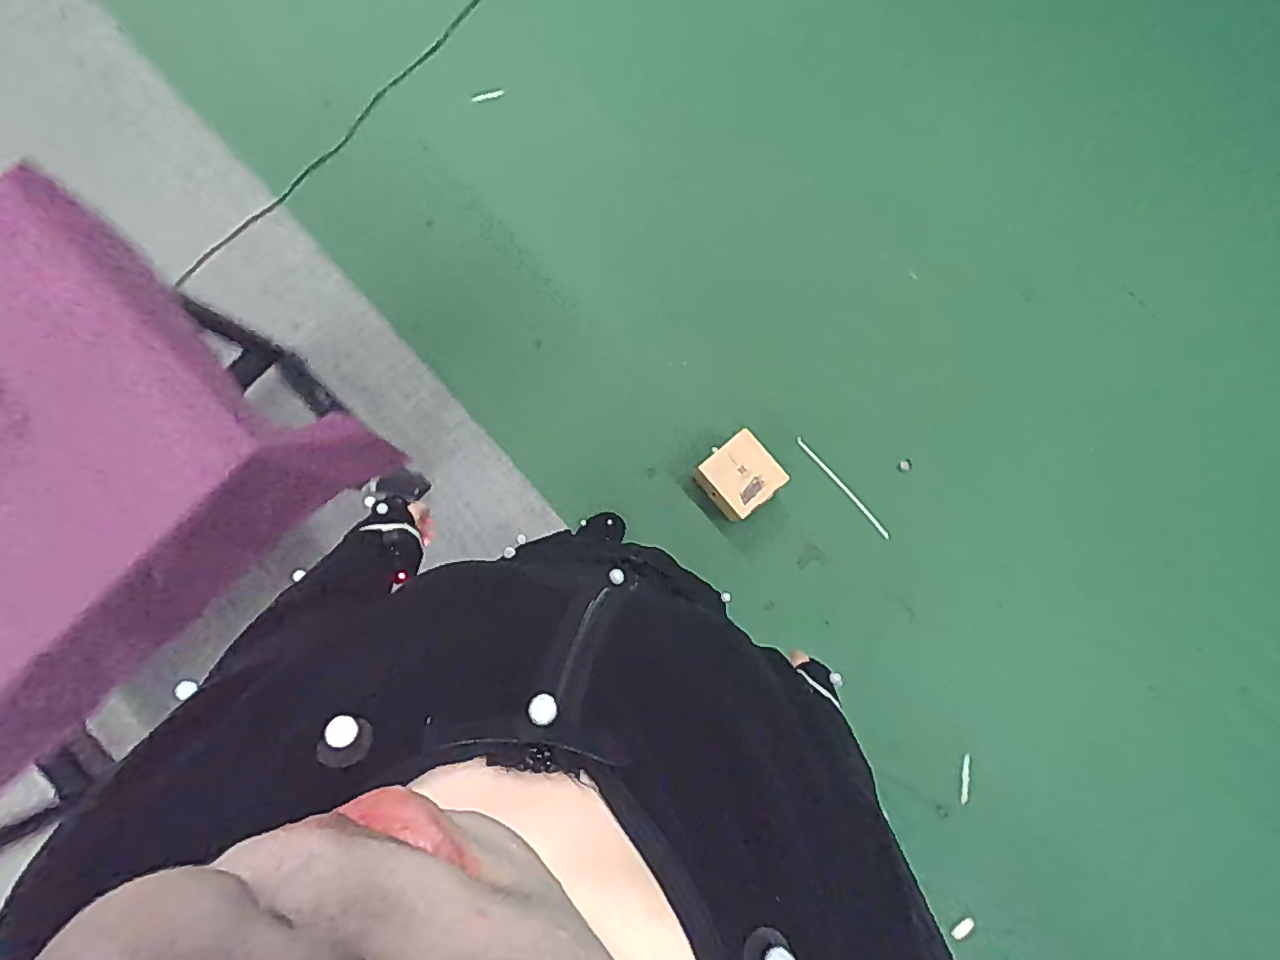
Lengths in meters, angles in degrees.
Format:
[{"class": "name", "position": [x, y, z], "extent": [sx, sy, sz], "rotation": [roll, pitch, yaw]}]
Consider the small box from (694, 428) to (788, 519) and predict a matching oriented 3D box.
[{"class": "small box", "position": [0.264, -0.011, 1.451], "extent": [0.168, 0.176, 0.179], "rotation": [-39, 85, -4]}]
